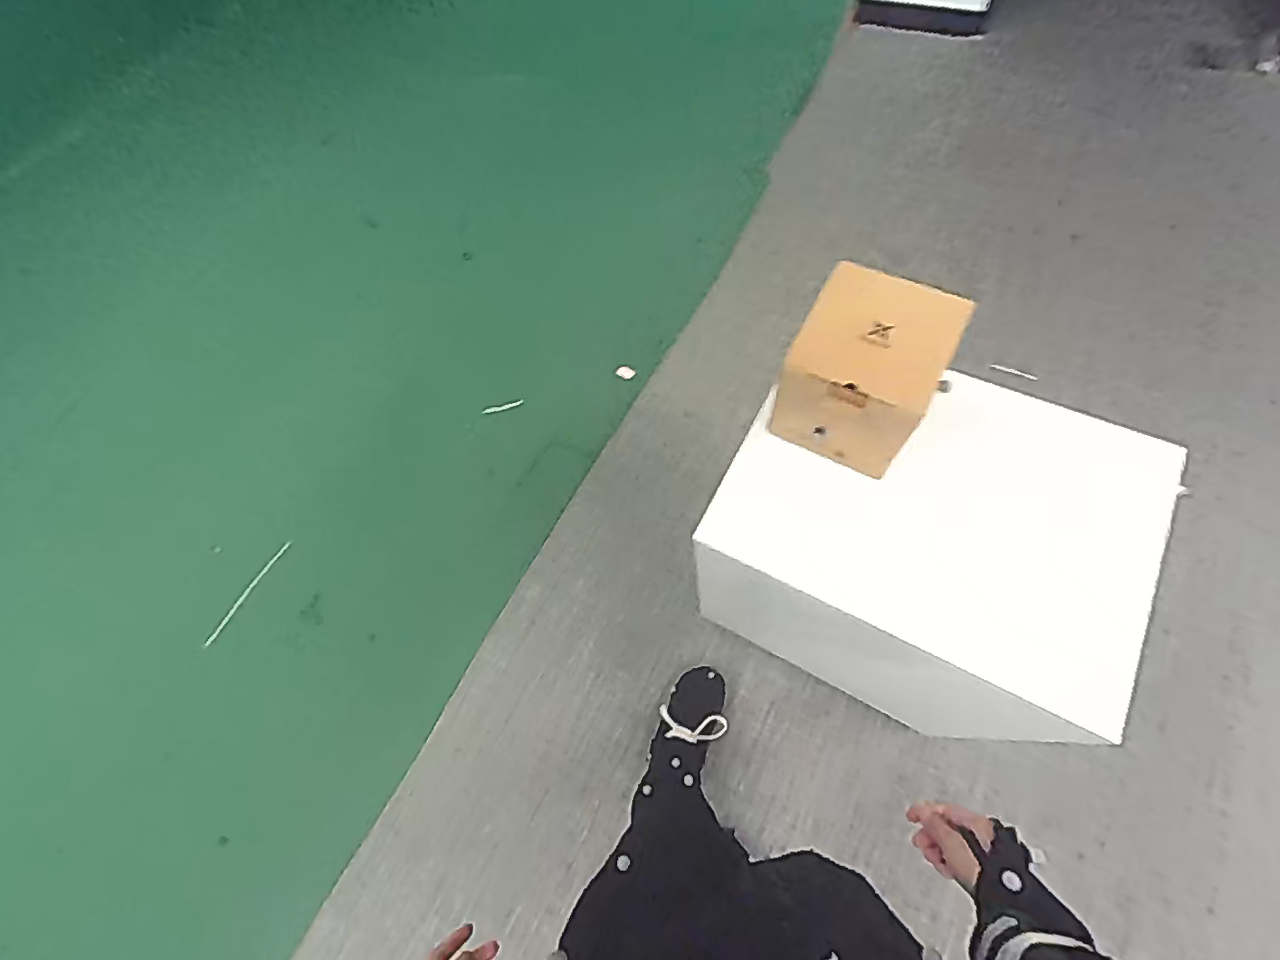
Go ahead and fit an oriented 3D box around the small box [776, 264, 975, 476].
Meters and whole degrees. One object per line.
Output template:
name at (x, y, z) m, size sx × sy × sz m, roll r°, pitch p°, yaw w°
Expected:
small box at (0.289, -0.136, 0.702) m, size 0.168 × 0.176 × 0.179 m, roll 26°, pitch 72°, yaw 17°
